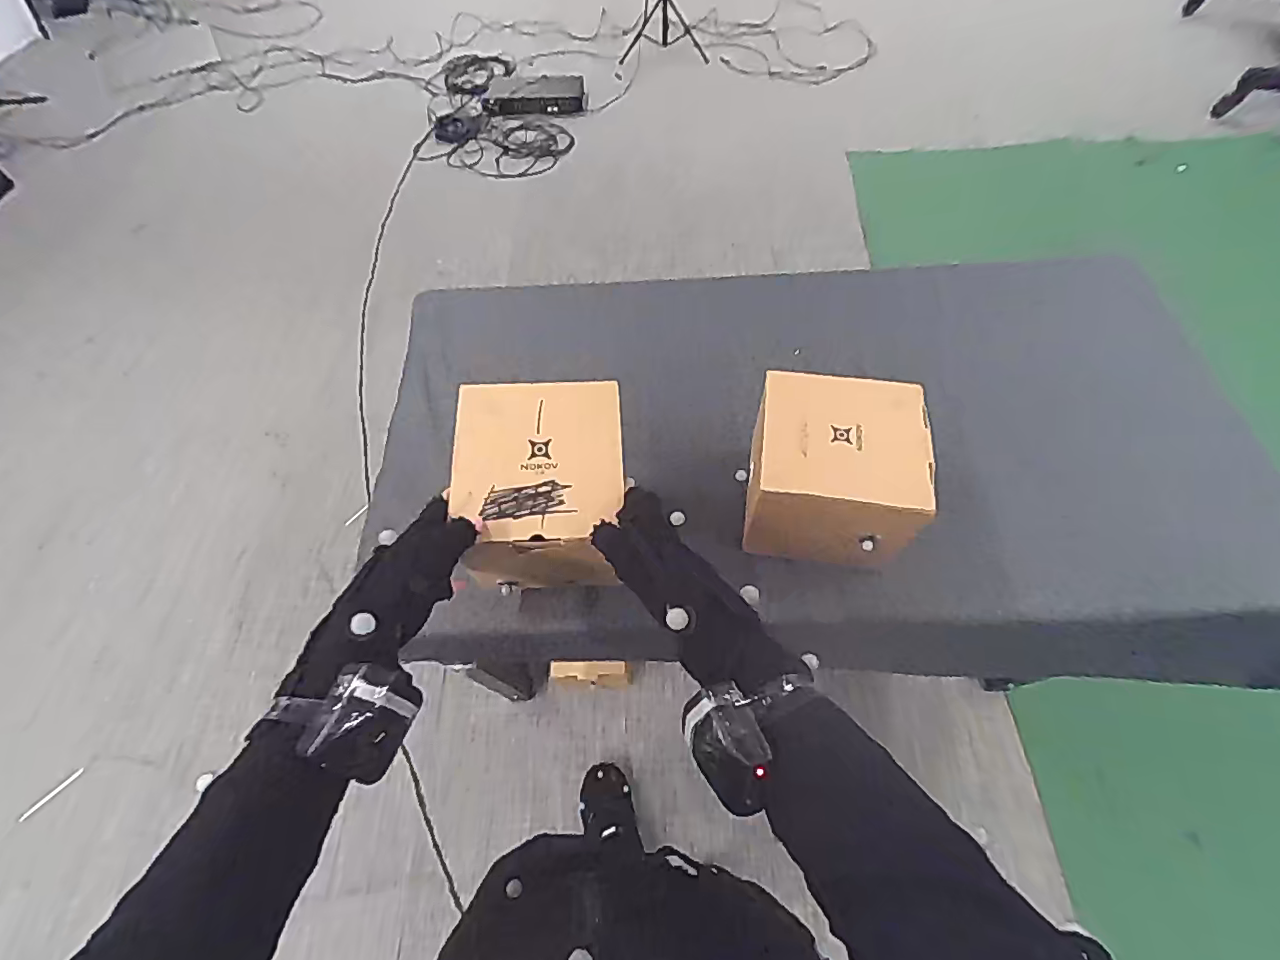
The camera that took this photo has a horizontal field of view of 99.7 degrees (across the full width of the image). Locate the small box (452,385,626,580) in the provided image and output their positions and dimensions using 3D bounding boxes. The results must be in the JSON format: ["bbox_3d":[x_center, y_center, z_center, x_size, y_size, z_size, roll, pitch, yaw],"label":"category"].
[{"bbox_3d":[-0.099,0.012,0.609,0.168,0.176,0.179,-1,65,-4],"label":"small box"}]

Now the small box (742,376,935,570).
[{"bbox_3d":[0.227,-0.001,0.656,0.179,0.176,0.168,7,60,7],"label":"small box"}]
